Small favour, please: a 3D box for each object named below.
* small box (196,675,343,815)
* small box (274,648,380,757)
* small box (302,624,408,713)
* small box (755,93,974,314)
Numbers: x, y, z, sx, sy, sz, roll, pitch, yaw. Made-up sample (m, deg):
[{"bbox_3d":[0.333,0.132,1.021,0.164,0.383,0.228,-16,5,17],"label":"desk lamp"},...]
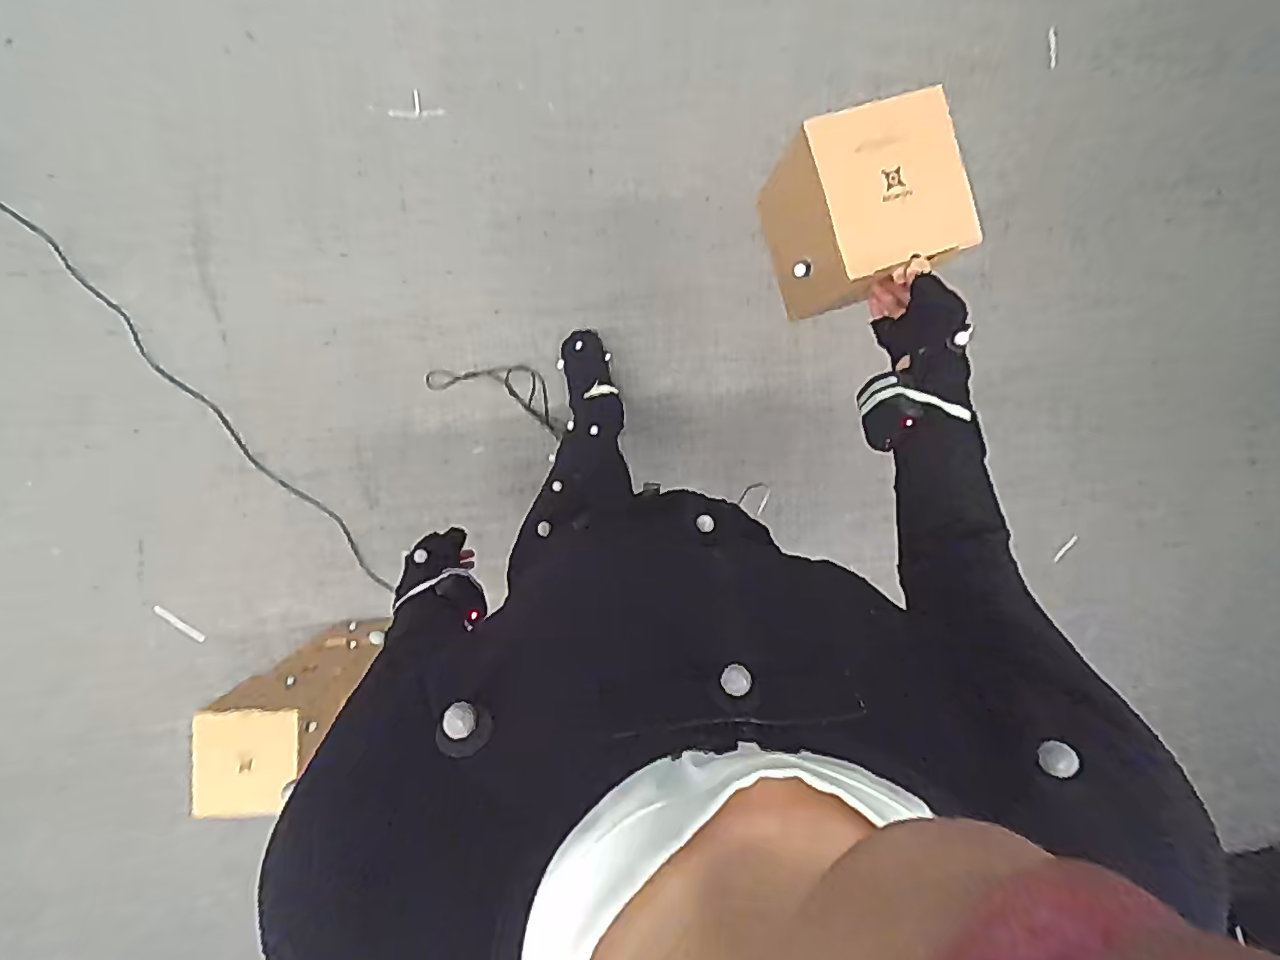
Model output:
[{"bbox_3d":[-0.663,0.474,0.986,0.168,0.176,0.179,1,91,-6],"label":"small box"},{"bbox_3d":[-0.671,0.469,1.148,0.168,0.176,0.179,-4,93,-6],"label":"small box"},{"bbox_3d":[-0.684,0.458,1.314,0.168,0.176,0.179,-7,91,-3],"label":"small box"},{"bbox_3d":[0.262,-0.320,0.667,0.168,0.176,0.179,-17,92,-6],"label":"small box"}]
